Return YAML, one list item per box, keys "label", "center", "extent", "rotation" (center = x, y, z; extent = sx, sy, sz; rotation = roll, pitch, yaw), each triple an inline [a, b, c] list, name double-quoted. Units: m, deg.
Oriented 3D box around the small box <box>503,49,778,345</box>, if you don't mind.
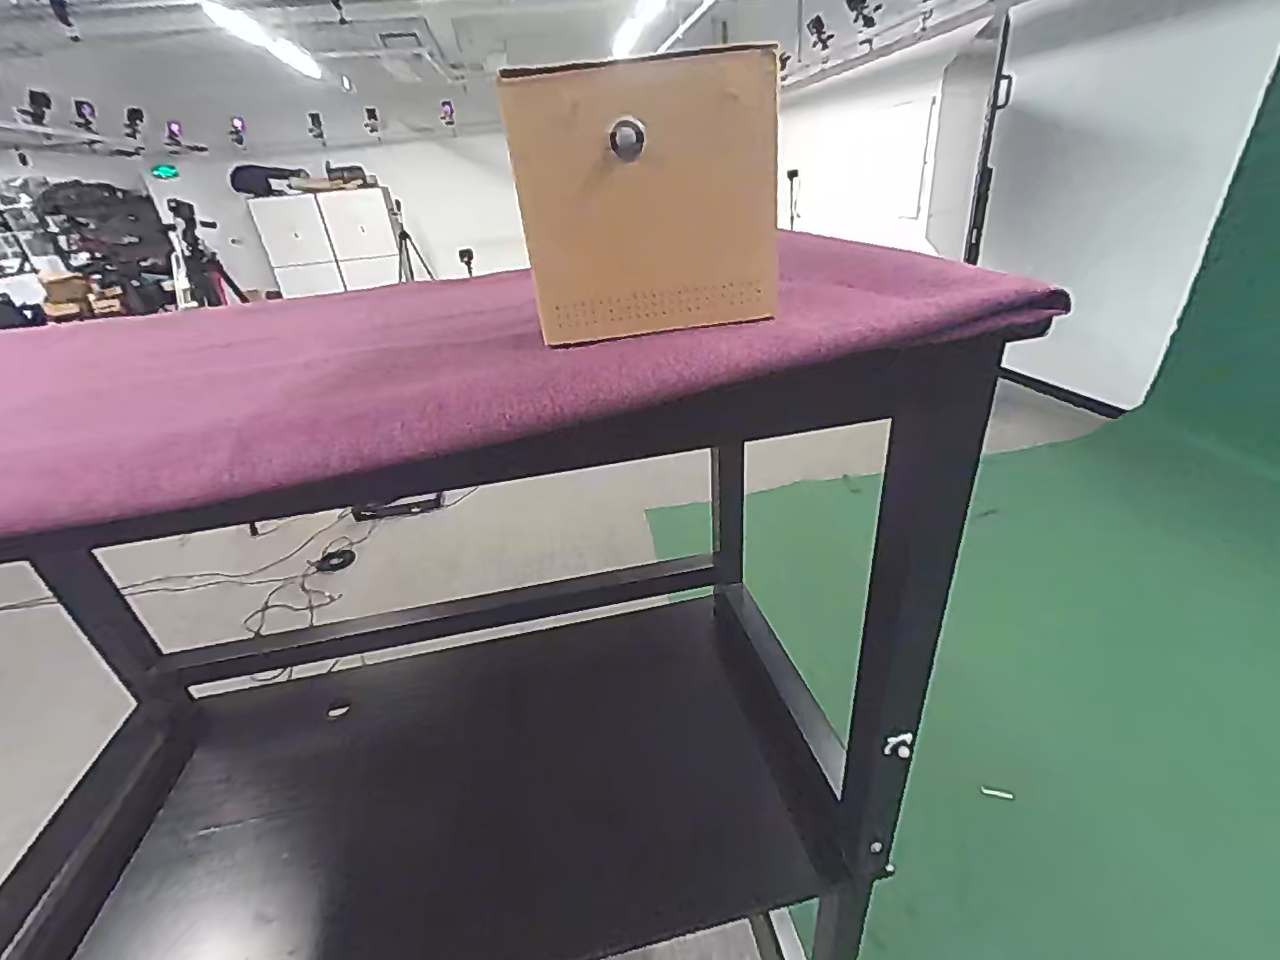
- label: "small box"
  center: [0.005, -0.212, 0.436]
  extent: [0.179, 0.176, 0.168]
  rotation: [-7, 27, -1]
